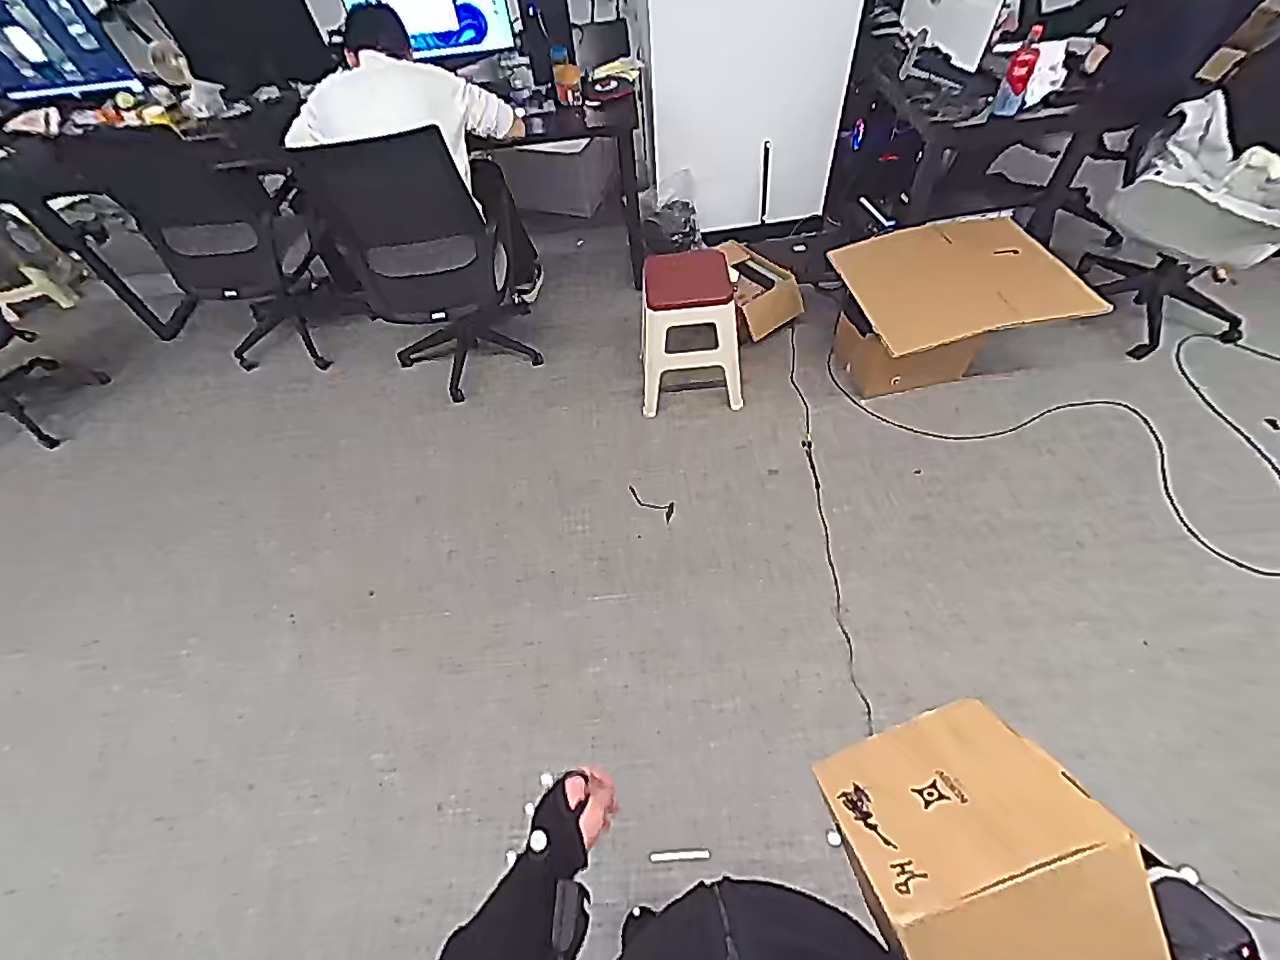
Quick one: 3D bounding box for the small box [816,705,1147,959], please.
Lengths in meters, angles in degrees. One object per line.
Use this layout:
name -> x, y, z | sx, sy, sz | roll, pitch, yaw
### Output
small box -> 0.287, 0.342, 0.472 | 0.179, 0.168, 0.176 | -23, 99, 1
